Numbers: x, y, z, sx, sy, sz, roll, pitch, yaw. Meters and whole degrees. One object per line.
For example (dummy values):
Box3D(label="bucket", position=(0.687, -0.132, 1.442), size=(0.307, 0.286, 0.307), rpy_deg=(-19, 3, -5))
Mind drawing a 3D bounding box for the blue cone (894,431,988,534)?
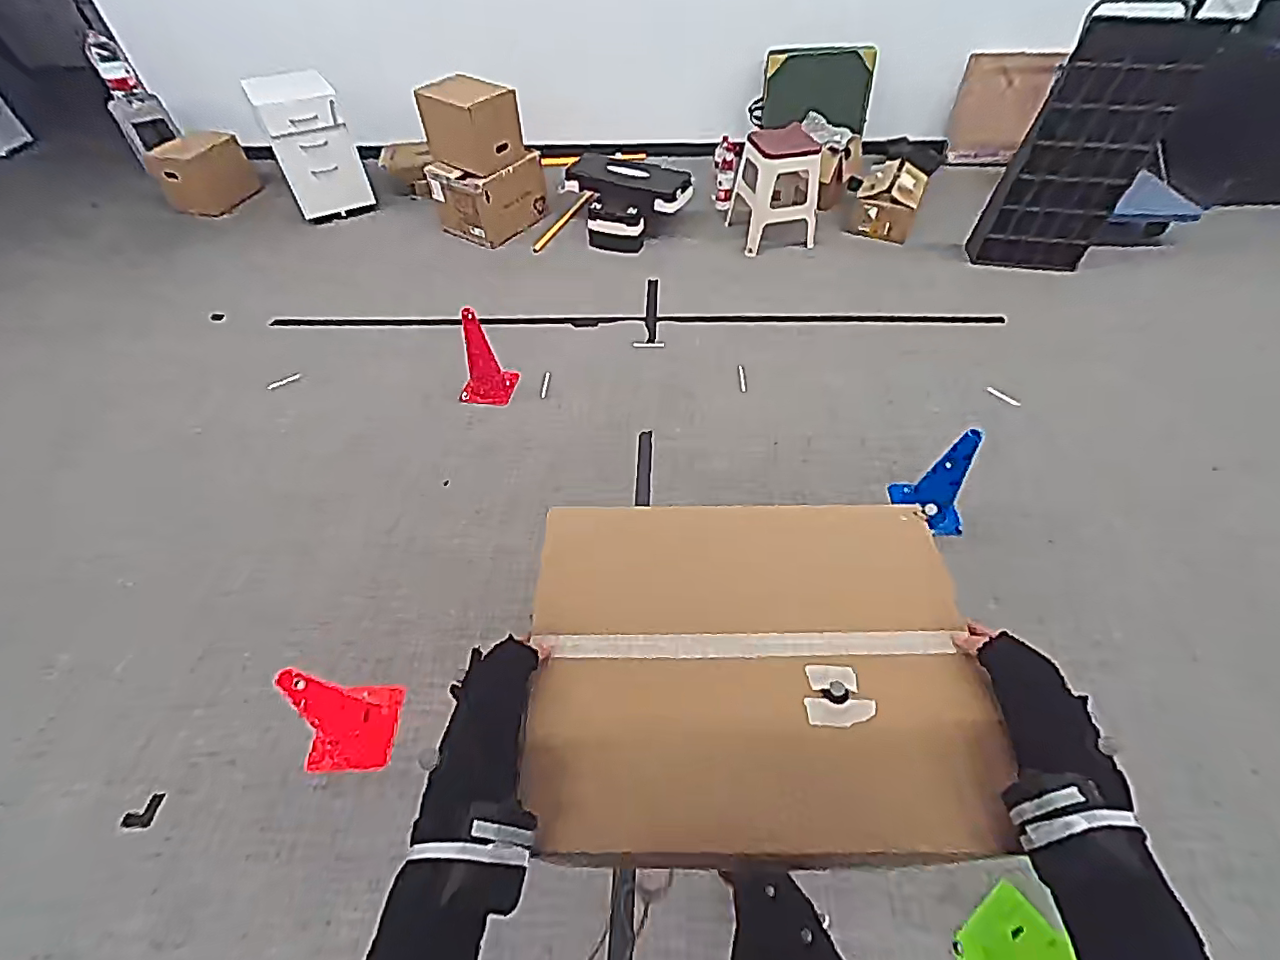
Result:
Box3D(label="blue cone", position=(0.943, -0.007, 1.652), size=(0.192, 0.380, 0.193), rpy_deg=(4, 51, 3))

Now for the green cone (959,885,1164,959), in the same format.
Box3D(label="green cone", position=(0.761, 0.841, 0.926), size=(0.202, 0.368, 0.200), rpy_deg=(-29, 56, -23))

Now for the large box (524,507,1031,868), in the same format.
Box3D(label="large box", position=(0.105, 0.245, 0.624), size=(0.408, 0.320, 0.320), rpy_deg=(0, 52, 0))

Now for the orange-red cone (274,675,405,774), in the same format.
Box3D(label="orange-red cone", position=(-0.713, 0.523, 1.228), size=(0.198, 0.360, 0.199), rpy_deg=(-2, 52, 1))

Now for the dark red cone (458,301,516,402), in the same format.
Box3D(label="dark red cone", position=(-0.609, -0.489, 2.038), size=(0.201, 0.394, 0.202), rpy_deg=(6, 51, 5))
